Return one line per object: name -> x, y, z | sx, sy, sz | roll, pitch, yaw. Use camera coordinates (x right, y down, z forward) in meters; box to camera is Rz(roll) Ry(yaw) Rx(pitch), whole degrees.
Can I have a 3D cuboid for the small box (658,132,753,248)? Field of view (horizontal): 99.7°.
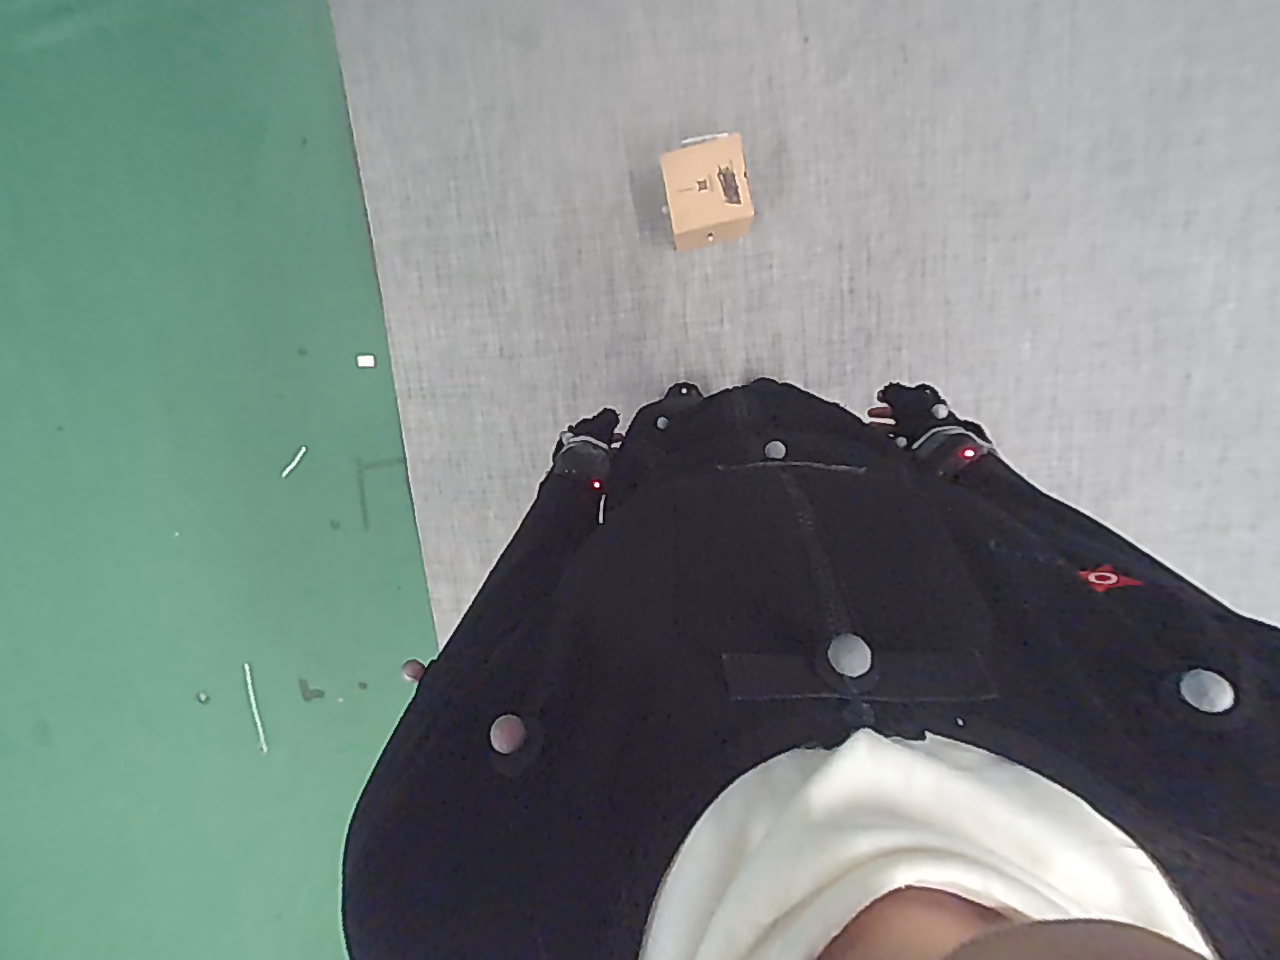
small box -> 0.146, -0.649, 1.230 | 0.179, 0.176, 0.168 | -13, 99, 8
